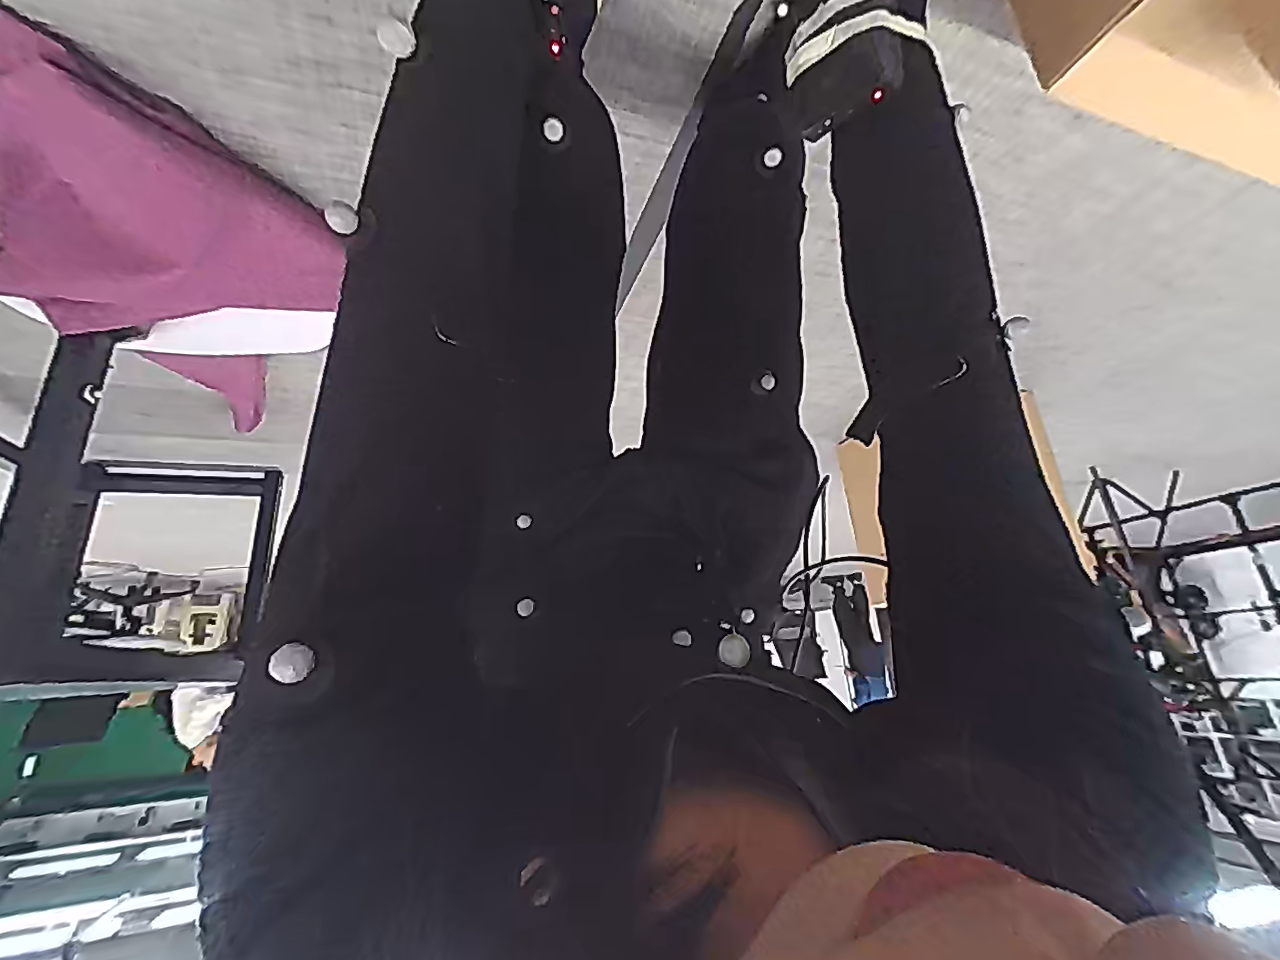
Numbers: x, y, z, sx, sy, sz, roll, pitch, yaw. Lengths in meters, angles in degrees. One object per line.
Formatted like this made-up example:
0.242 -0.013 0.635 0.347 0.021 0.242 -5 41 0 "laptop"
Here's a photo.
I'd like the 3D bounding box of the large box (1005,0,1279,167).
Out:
0.584 -0.552 0.471 0.408 0.320 0.320 1 161 -19 "large box"
